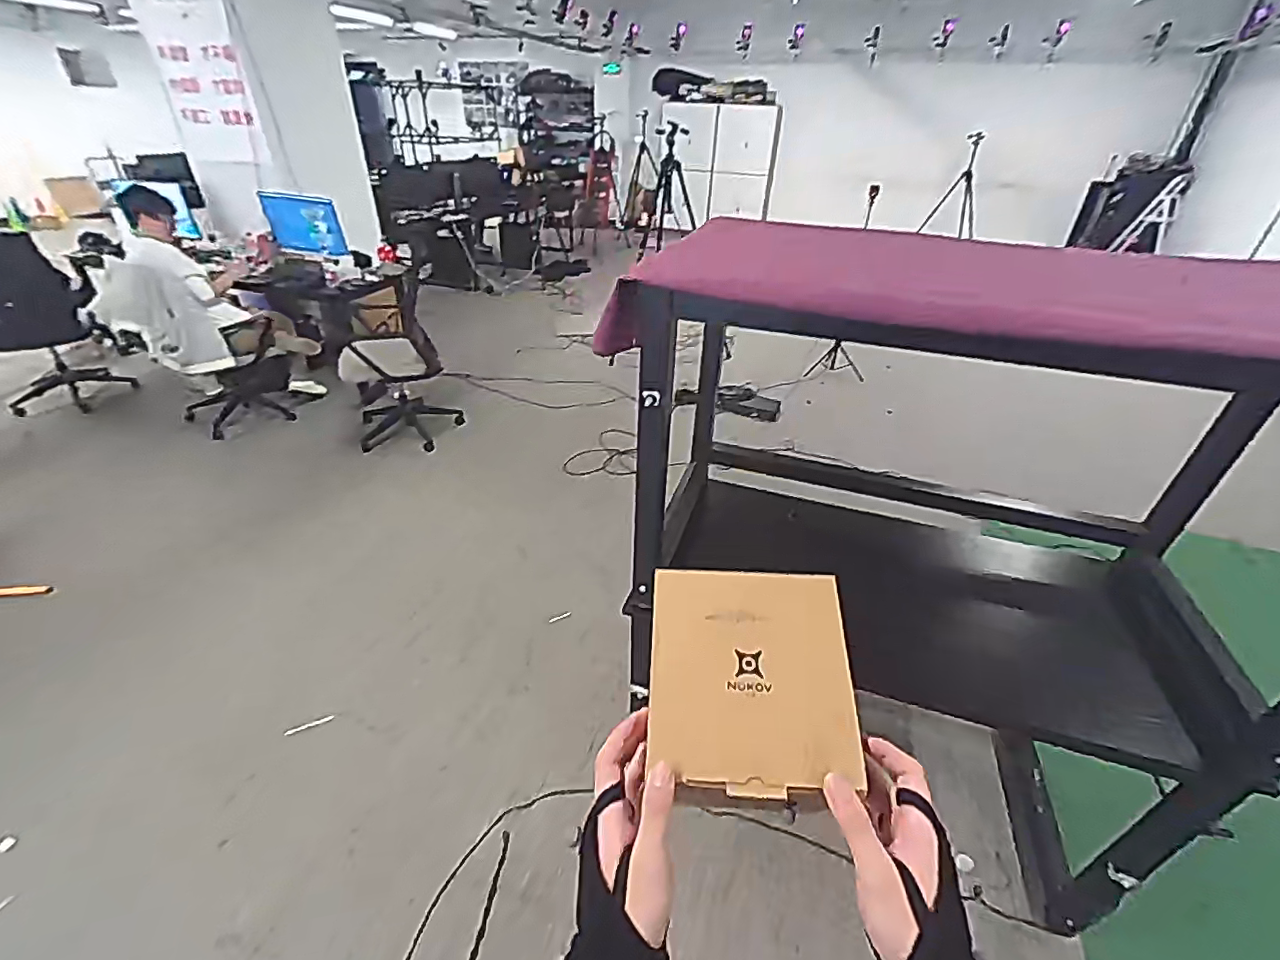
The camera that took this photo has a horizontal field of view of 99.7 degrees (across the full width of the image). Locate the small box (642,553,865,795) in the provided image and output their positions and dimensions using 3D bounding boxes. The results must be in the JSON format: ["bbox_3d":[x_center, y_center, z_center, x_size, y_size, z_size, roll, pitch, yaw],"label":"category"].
[{"bbox_3d":[0.093,0.186,0.508,0.168,0.176,0.179,2,55,4],"label":"small box"}]
